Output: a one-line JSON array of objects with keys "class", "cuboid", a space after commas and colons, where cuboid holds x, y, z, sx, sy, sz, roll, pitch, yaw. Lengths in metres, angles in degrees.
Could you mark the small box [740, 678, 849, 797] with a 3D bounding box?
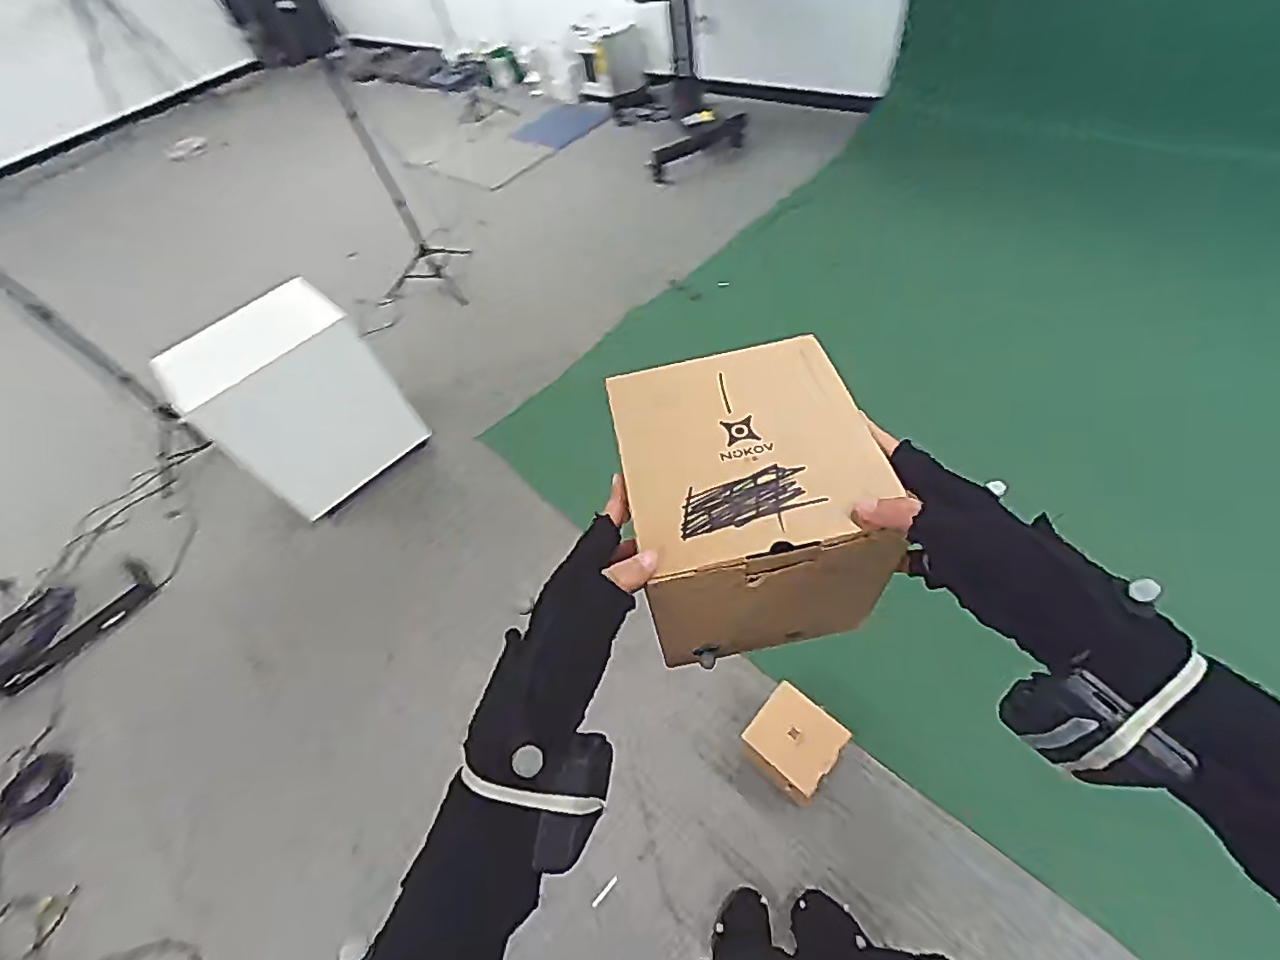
[{"class": "small box", "cuboid": [0.348, 0.597, 1.245, 0.179, 0.176, 0.168, 35, 67, 30]}]
